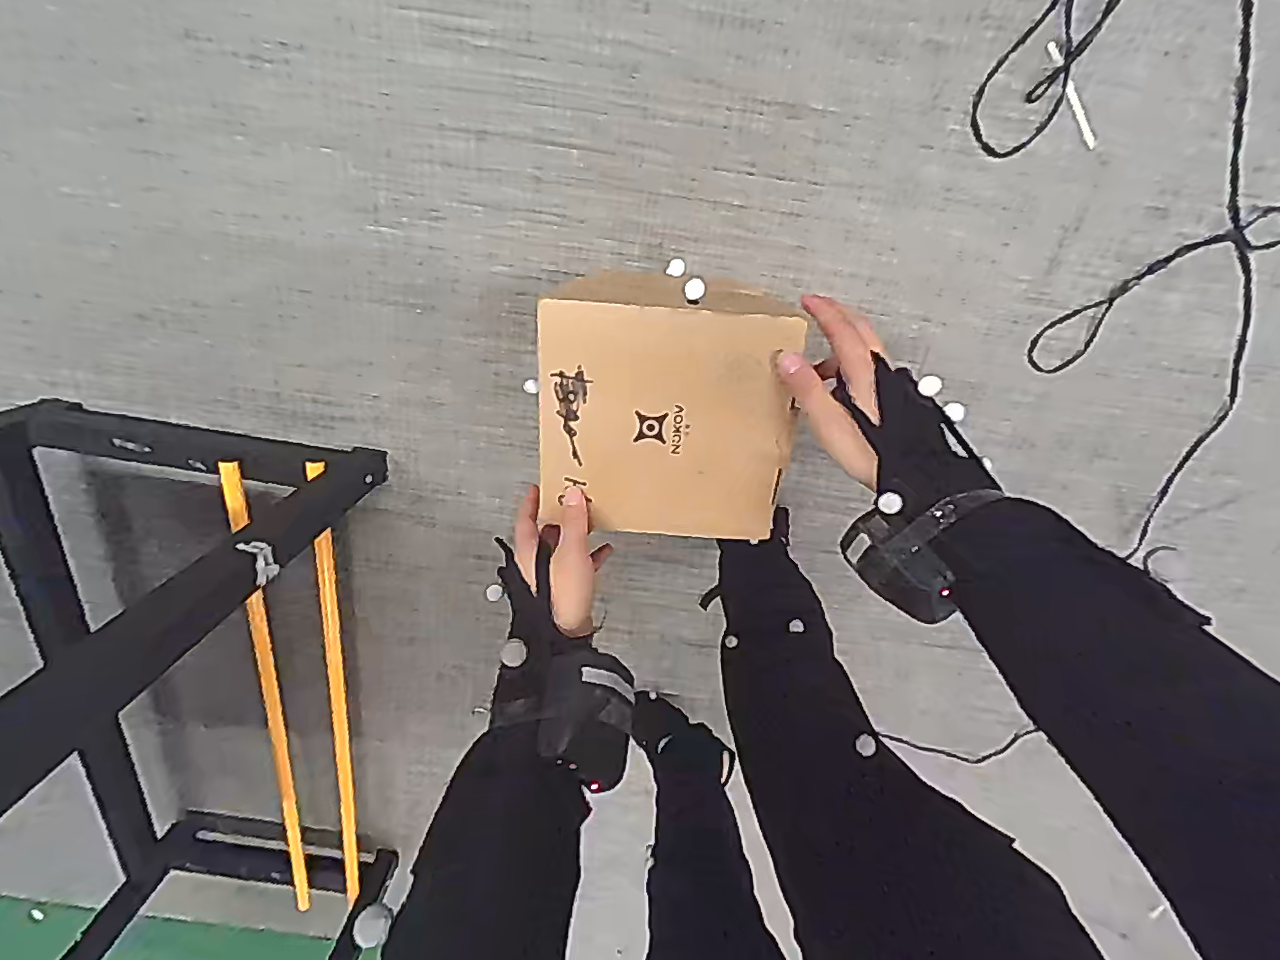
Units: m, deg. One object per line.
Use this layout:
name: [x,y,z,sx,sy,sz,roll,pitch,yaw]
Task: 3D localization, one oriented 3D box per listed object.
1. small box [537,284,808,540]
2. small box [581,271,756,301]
small box: [0.017,-0.067,0.447,0.179,0.176,0.168,5,113,0]
small box: [0.025,-0.130,0.600,0.168,0.176,0.179,4,113,1]
